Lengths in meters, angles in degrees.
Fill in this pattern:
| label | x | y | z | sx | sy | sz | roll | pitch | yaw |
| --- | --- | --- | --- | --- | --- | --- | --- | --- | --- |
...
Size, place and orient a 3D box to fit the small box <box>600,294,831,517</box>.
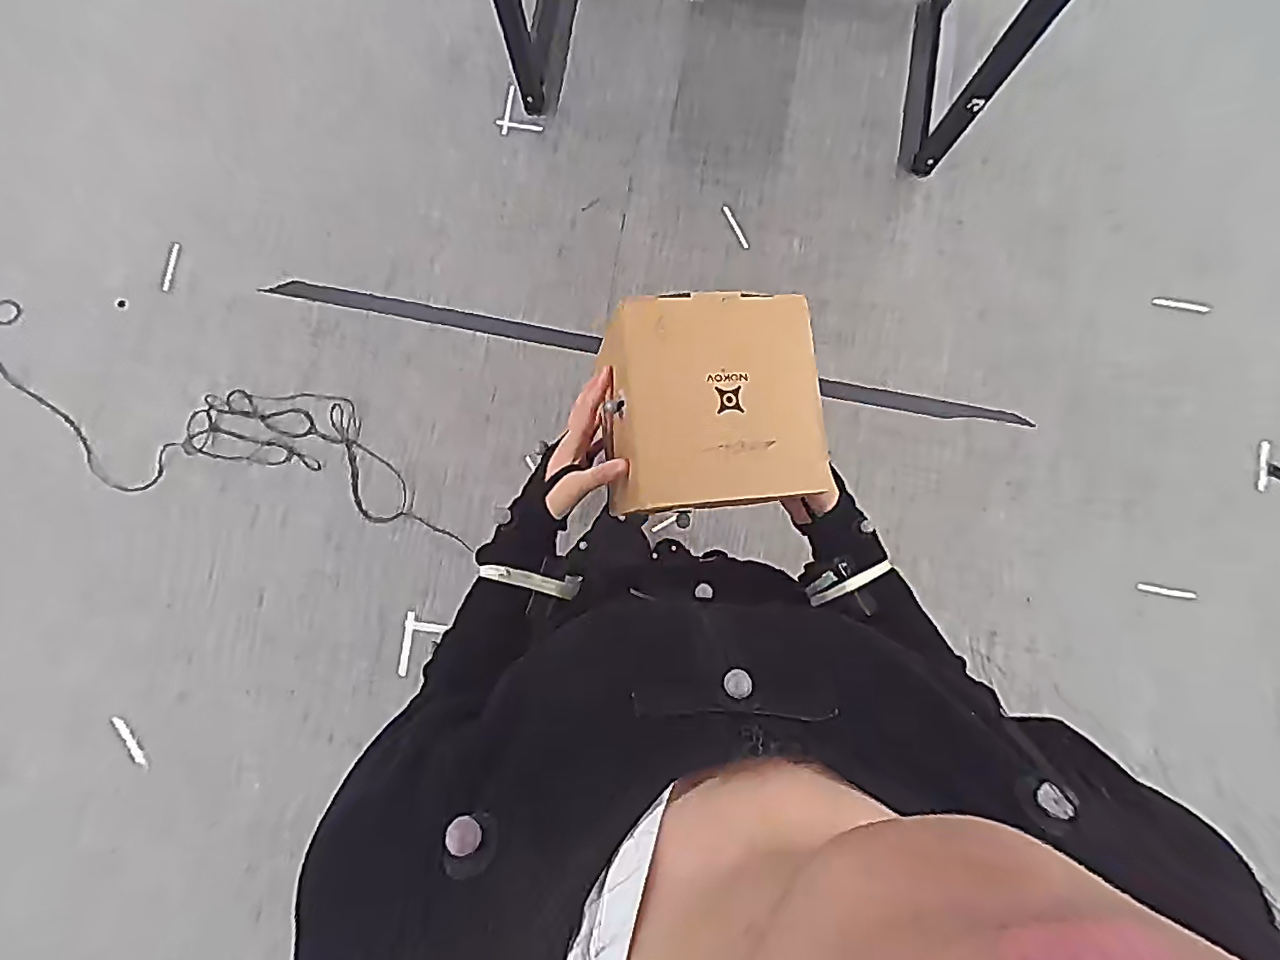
| label | x | y | z | sx | sy | sz | roll | pitch | yaw |
| --- | --- | --- | --- | --- | --- | --- | --- | --- | --- |
| small box | 0.057 | -0.060 | 0.522 | 0.168 | 0.176 | 0.179 | -4 | 85 | -12 |
